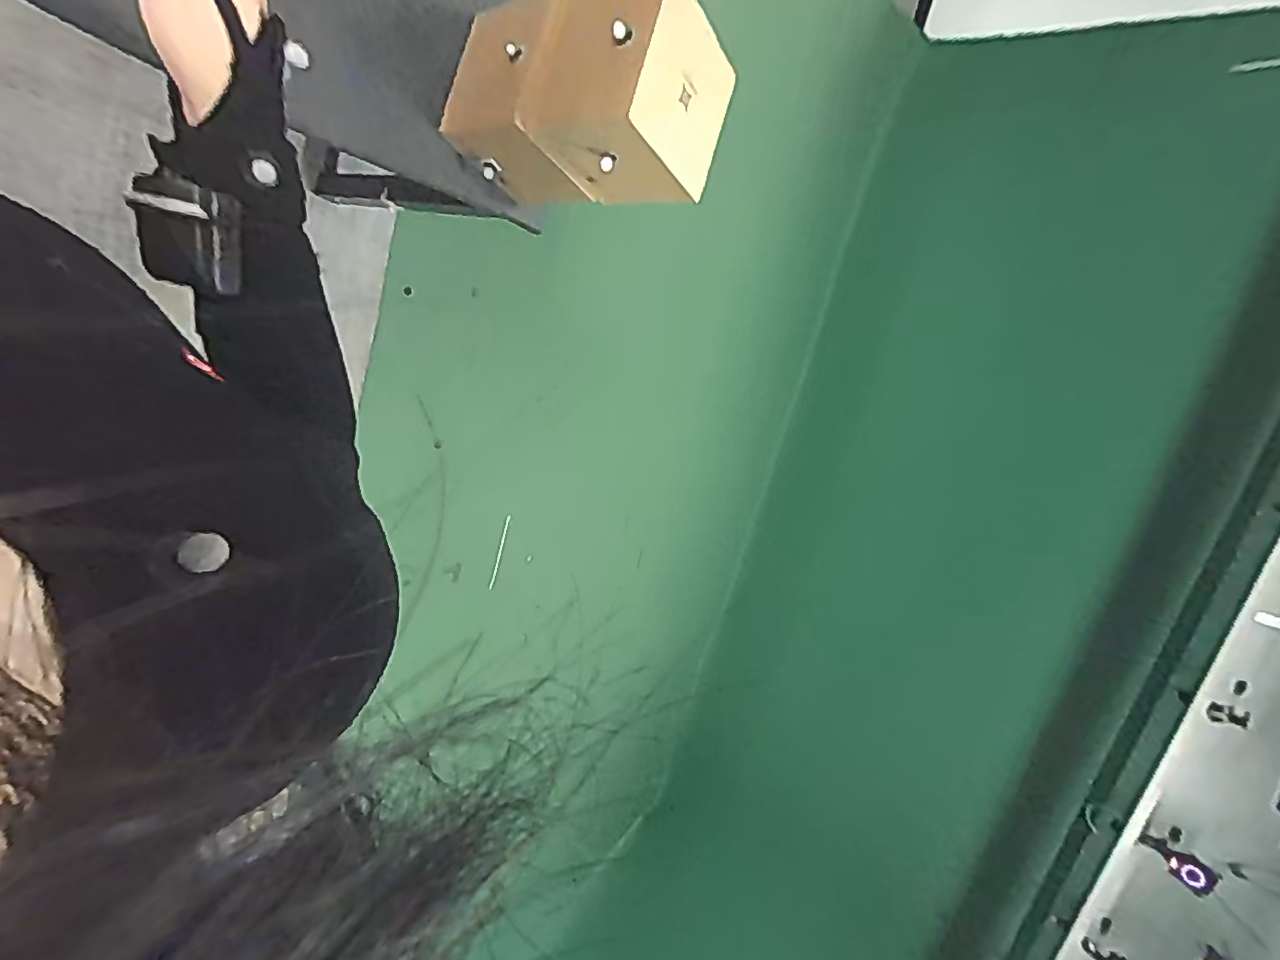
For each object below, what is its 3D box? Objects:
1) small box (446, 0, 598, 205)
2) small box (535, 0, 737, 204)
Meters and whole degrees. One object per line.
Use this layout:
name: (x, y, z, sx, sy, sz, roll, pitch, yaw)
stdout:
small box: (-0.142, -0.515, 0.760, 0.168, 0.176, 0.179, 19, 91, -55)
small box: (-0.007, -0.471, 0.680, 0.168, 0.176, 0.179, 15, 92, -55)
